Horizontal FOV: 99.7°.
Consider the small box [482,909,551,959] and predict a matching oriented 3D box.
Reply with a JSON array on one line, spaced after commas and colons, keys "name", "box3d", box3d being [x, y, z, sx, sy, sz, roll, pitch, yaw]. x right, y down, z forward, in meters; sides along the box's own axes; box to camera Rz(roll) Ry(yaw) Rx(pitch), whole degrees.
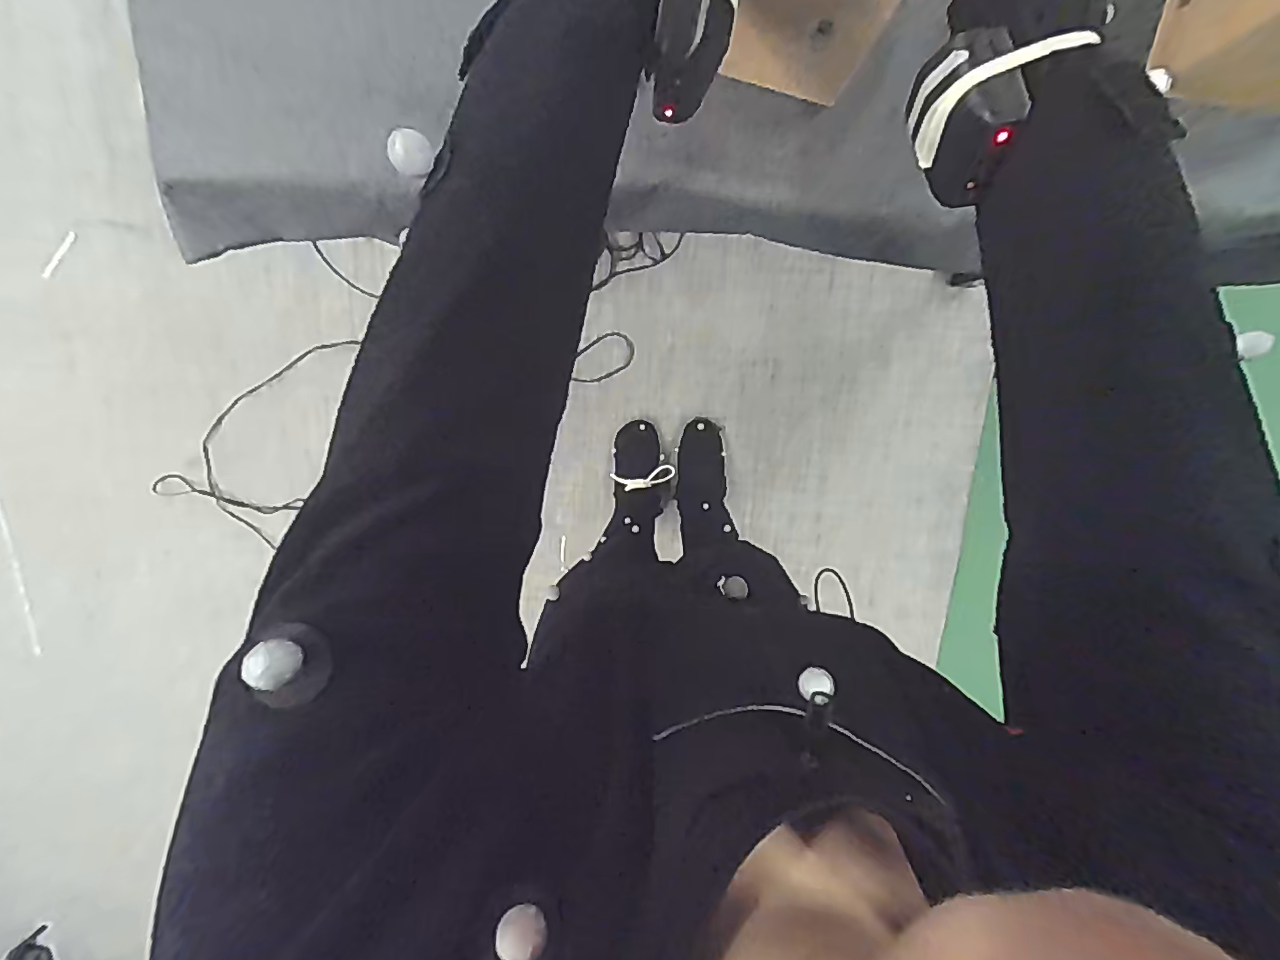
[{"name": "small box", "box3d": [-0.361, 1.409, 1.589, 0.179, 0.176, 0.168, 2, 104, 3]}]
